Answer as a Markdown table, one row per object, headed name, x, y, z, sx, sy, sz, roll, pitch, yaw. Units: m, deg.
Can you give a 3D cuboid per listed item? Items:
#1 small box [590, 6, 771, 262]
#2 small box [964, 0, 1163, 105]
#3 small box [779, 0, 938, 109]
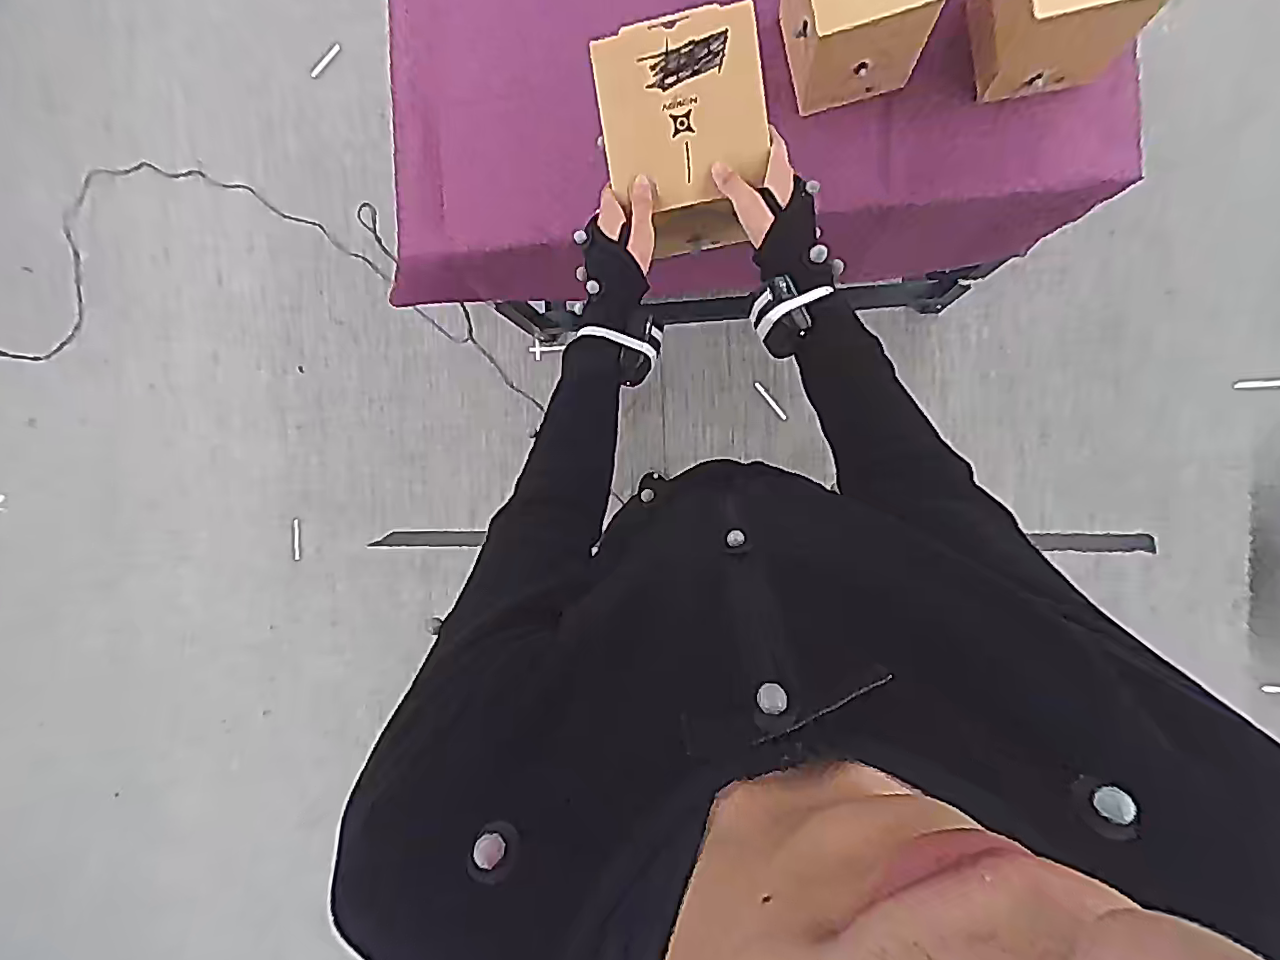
| name | x | y | z | sx | sy | sz | roll | pitch | yaw |
| --- | --- | --- | --- | --- | --- | --- | --- | --- | --- |
| small box | 0.050 | -0.376 | 0.623 | 0.168 | 0.176 | 0.179 | -8 | 97 | 9 |
| small box | 0.576 | -0.674 | 0.753 | 0.168 | 0.176 | 0.179 | -6 | 89 | 9 |
| small box | 0.307 | -0.687 | 0.793 | 0.168 | 0.176 | 0.179 | -11 | 88 | 8 |
